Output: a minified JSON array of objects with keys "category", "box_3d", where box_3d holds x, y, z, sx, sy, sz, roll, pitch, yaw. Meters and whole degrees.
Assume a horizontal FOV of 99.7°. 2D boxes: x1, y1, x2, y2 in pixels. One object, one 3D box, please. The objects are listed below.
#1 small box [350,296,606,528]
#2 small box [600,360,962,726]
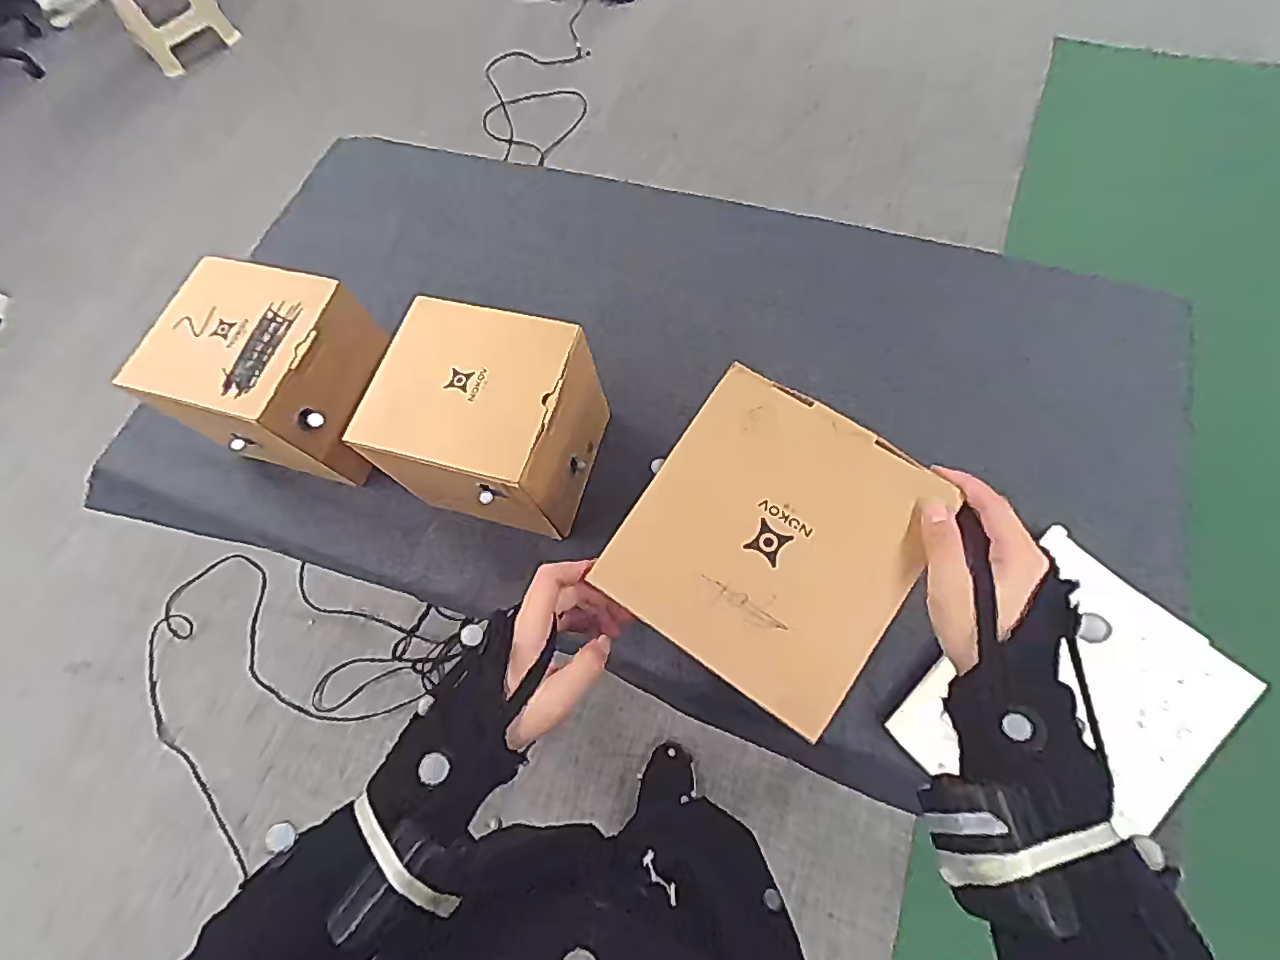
[{"category":"small box","box_3d":[-0.148,-0.061,0.566,0.179,0.176,0.168,13,70,10]},{"category":"small box","box_3d":[0.095,0.046,0.416,0.168,0.176,0.179,32,85,14]}]
